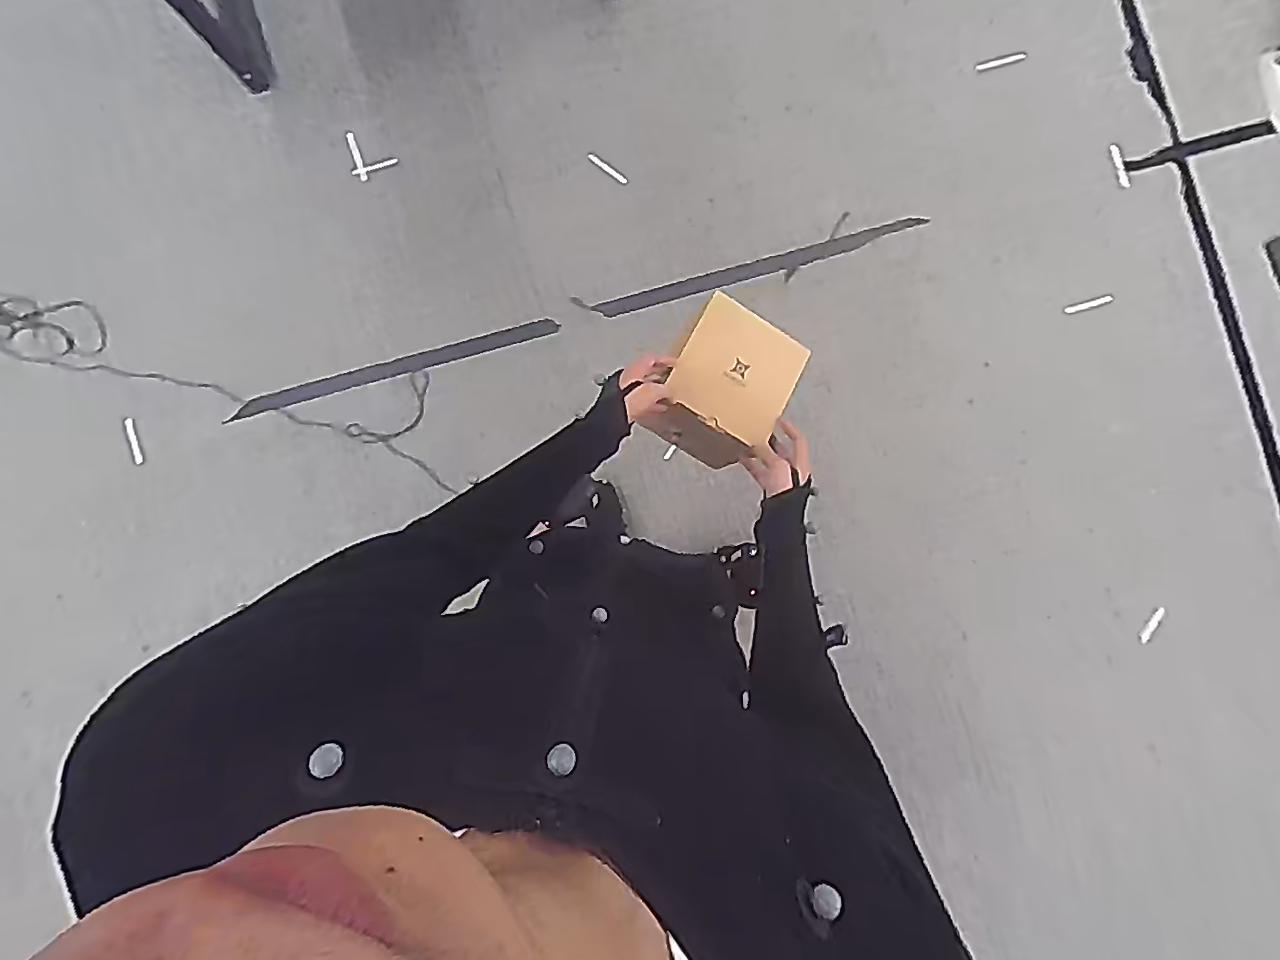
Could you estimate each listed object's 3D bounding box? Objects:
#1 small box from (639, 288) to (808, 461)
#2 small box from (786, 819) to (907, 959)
[{"bbox_3d":[0.115,-0.146,0.817,0.168,0.176,0.179,28,80,-9],"label":"small box"},{"bbox_3d":[0.435,0.883,1.164,0.168,0.176,0.179,-18,91,-2],"label":"small box"}]
